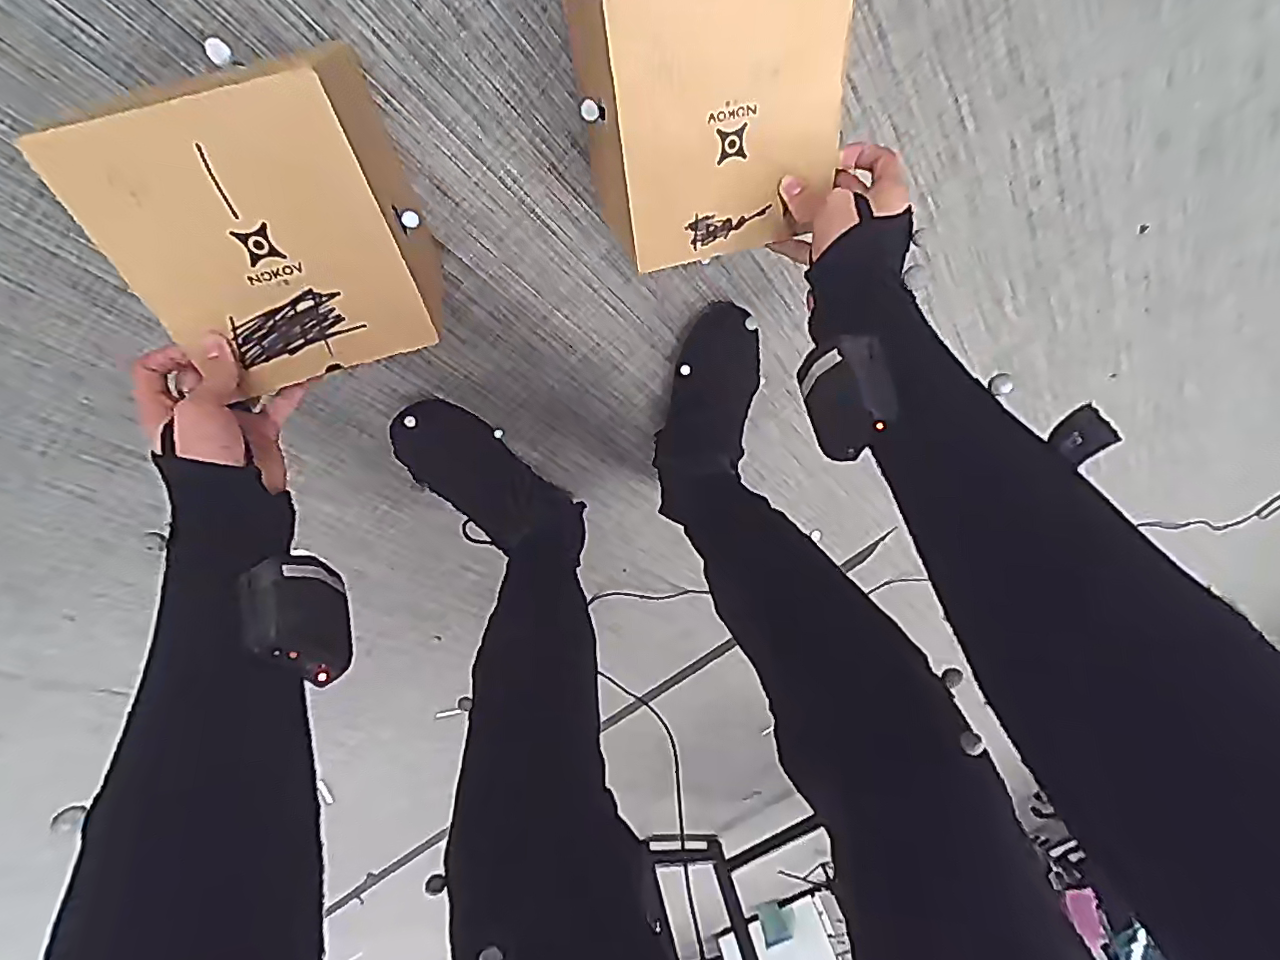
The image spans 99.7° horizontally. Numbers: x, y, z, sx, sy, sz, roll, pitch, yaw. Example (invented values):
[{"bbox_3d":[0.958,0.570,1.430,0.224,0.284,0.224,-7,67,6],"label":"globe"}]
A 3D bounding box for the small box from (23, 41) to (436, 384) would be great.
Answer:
[{"bbox_3d":[-0.269,-0.208,0.417,0.168,0.176,0.179,-18,134,-5],"label":"small box"}]

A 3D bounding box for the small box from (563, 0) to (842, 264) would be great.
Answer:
[{"bbox_3d":[0.042,-0.307,0.443,0.168,0.176,0.179,-15,134,-5],"label":"small box"}]
